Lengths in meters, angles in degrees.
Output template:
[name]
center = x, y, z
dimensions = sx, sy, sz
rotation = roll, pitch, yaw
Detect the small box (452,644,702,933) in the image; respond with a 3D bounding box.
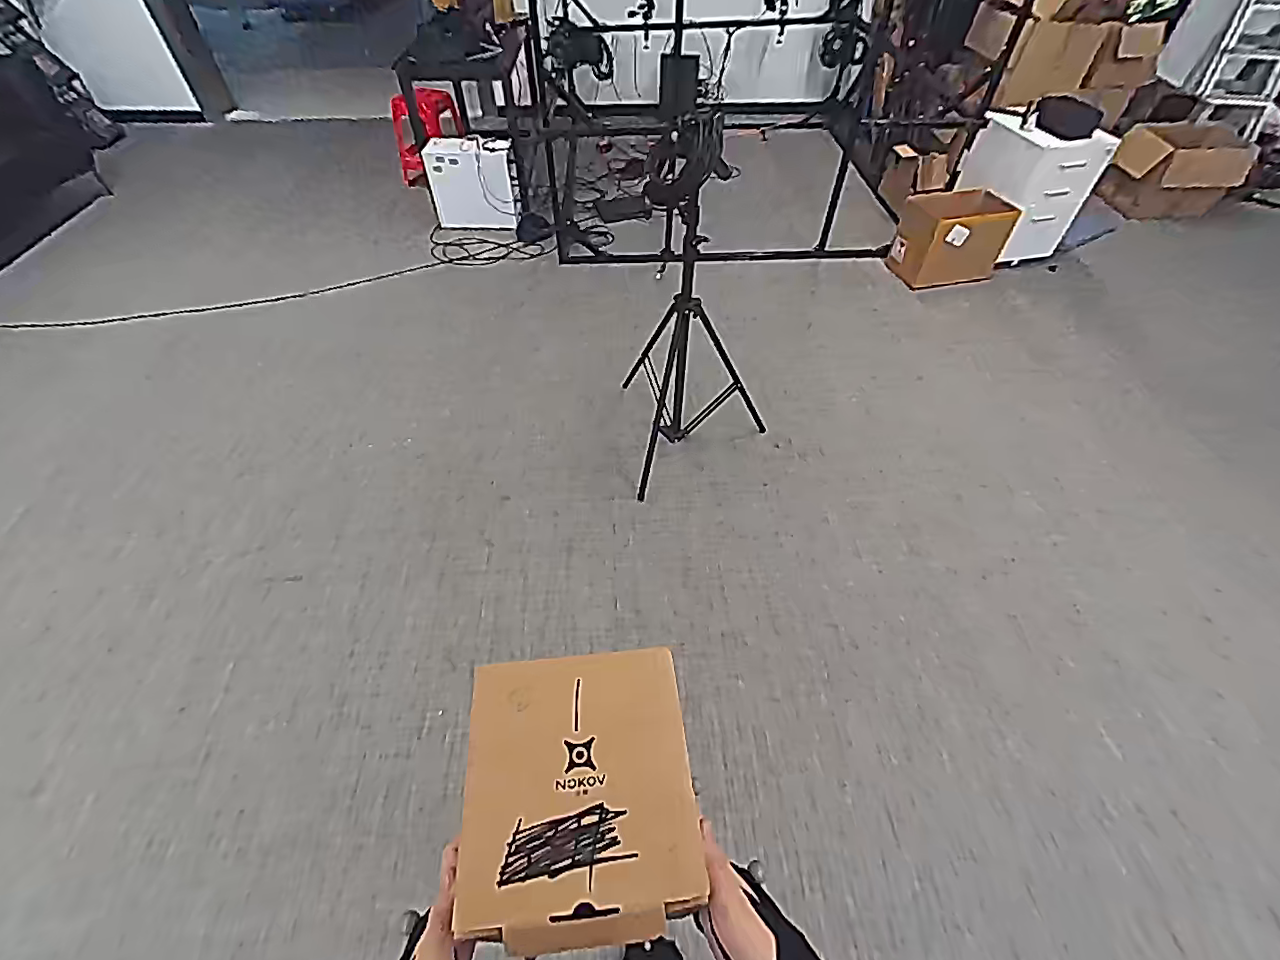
[small box]
center = -0.048, 0.263, 0.459
dimensions = 0.168, 0.176, 0.179
rotation = -4, 48, -6
